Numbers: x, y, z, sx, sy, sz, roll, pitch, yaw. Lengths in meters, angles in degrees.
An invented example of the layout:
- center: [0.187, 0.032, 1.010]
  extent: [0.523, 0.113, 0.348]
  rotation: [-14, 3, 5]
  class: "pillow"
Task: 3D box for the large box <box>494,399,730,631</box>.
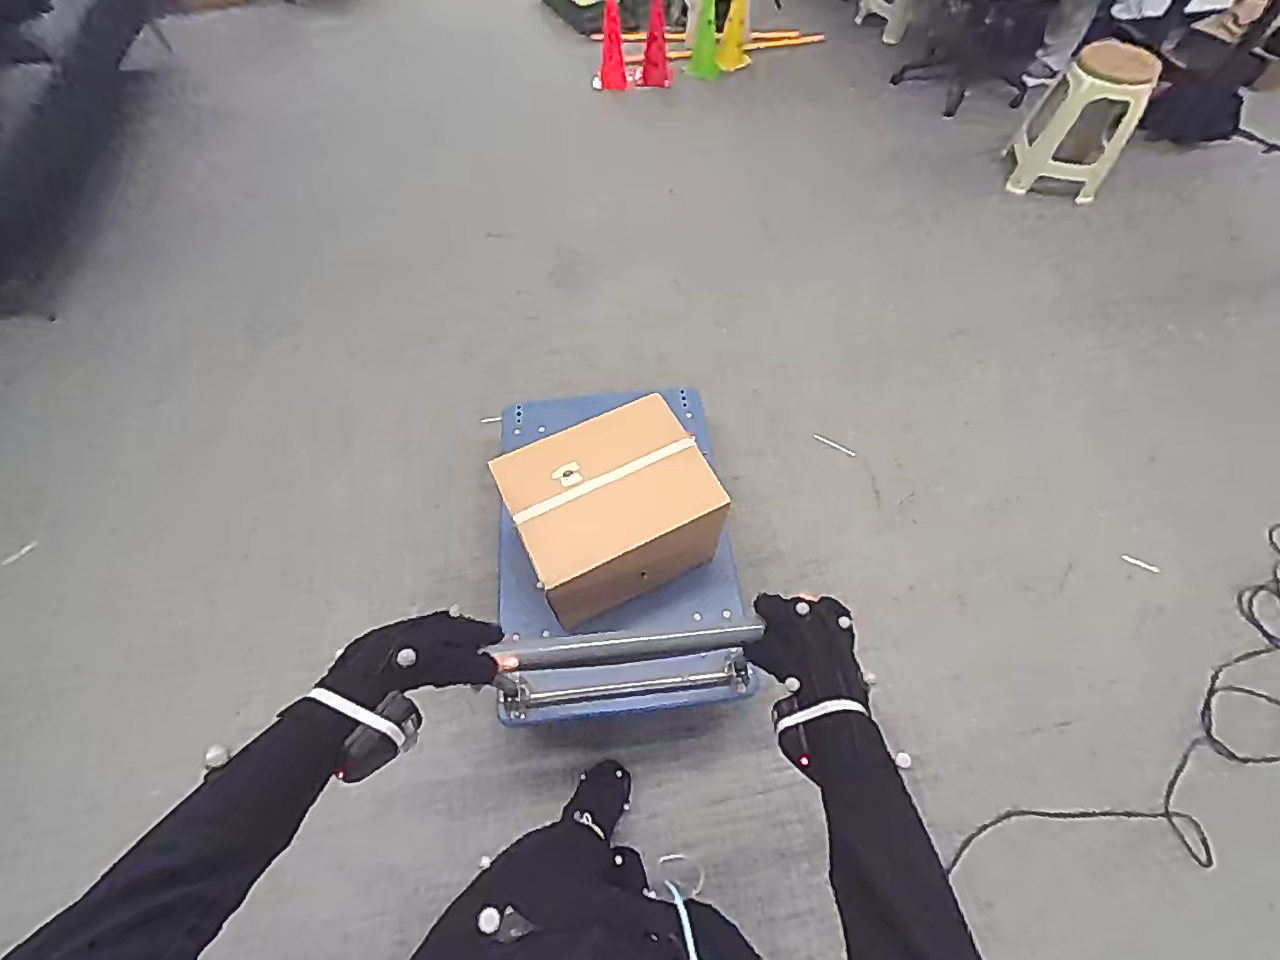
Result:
- center: [-0.059, 0.087, 1.230]
  extent: [0.408, 0.320, 0.320]
  rotation: [-25, 63, -12]
  class: "large box"
